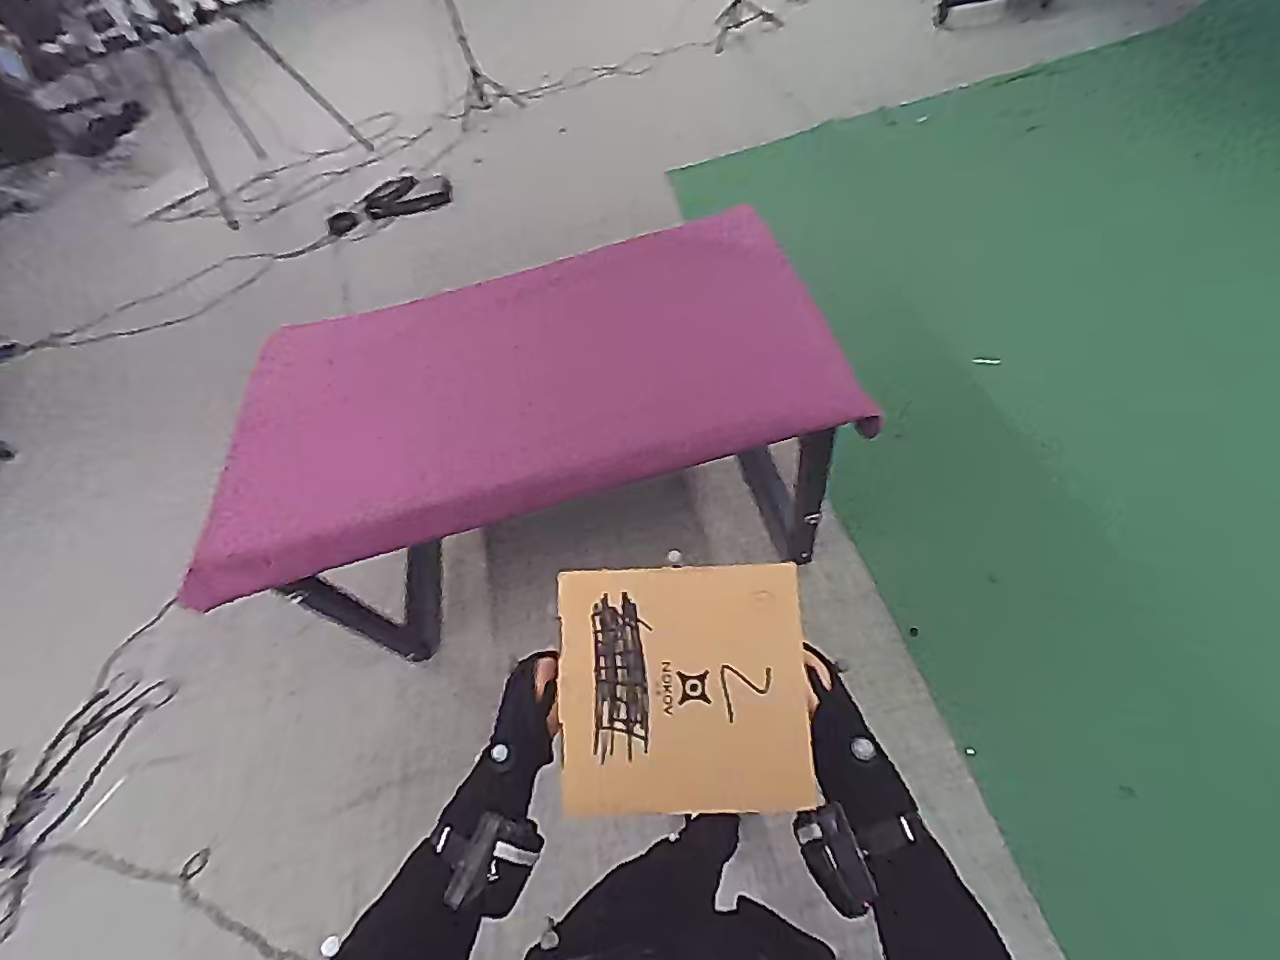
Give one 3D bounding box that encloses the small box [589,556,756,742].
[{"bbox_3d":[0.038,0.182,0.627,0.168,0.176,0.179,2,80,2],"label":"small box"}]
